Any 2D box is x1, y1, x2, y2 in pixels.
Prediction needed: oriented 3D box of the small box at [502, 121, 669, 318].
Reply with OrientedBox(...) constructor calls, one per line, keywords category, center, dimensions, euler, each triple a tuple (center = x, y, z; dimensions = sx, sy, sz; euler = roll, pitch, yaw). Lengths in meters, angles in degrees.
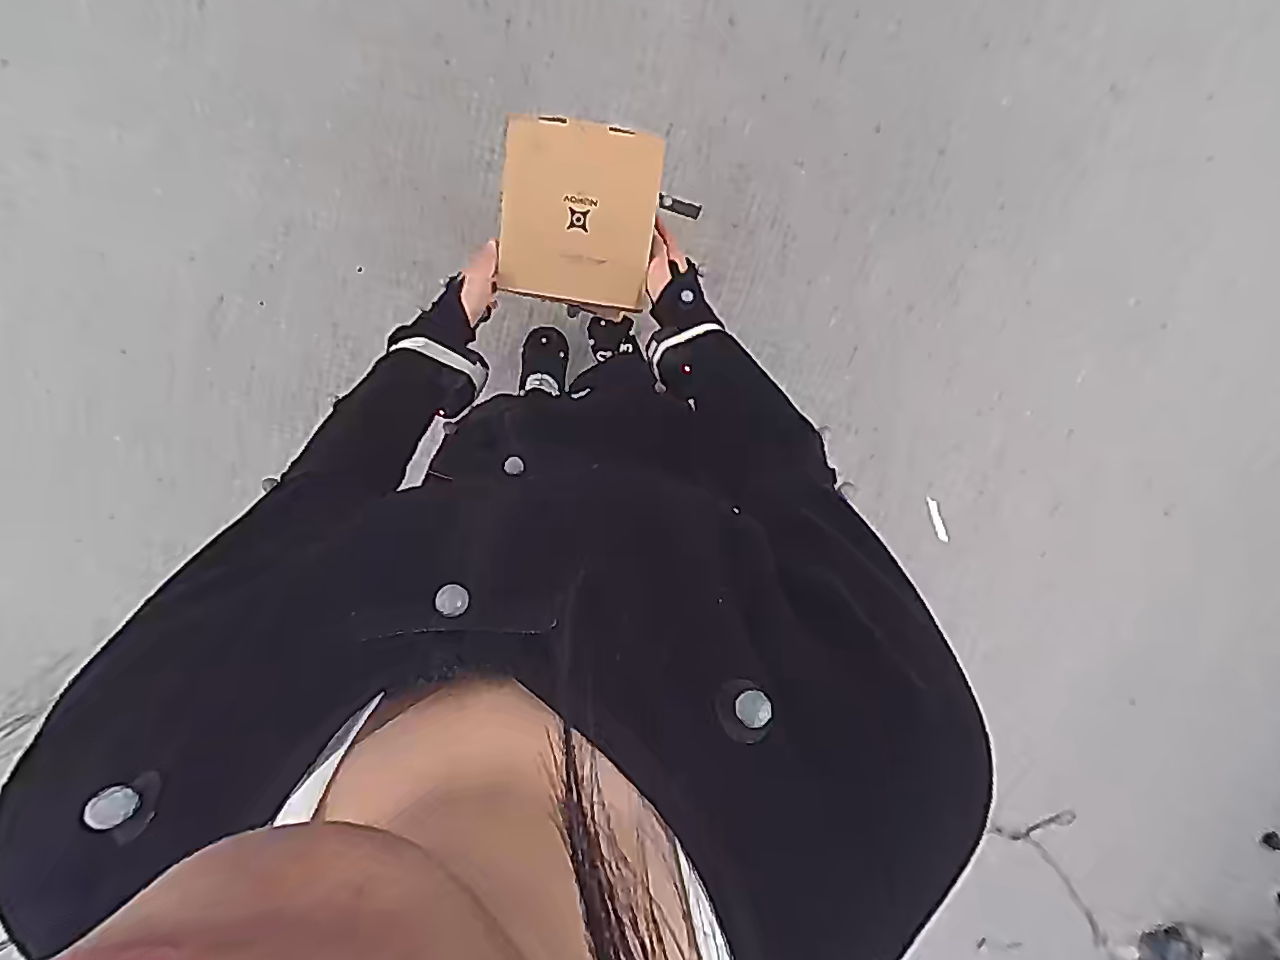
OrientedBox(category="small box", center=(-0.060, -0.296, 0.653), dimensions=(0.168, 0.176, 0.179), euler=(7, 107, -1))
